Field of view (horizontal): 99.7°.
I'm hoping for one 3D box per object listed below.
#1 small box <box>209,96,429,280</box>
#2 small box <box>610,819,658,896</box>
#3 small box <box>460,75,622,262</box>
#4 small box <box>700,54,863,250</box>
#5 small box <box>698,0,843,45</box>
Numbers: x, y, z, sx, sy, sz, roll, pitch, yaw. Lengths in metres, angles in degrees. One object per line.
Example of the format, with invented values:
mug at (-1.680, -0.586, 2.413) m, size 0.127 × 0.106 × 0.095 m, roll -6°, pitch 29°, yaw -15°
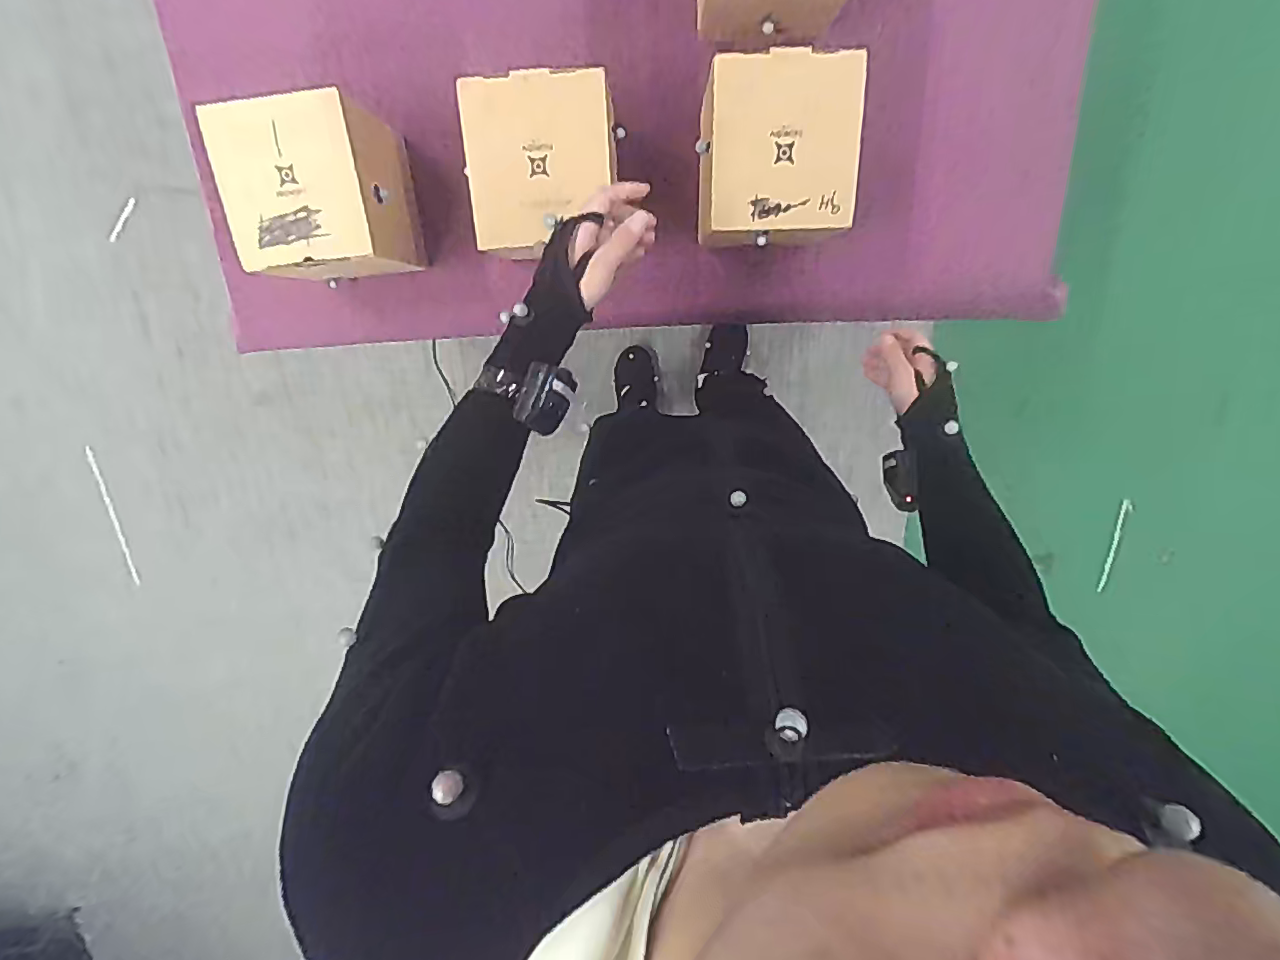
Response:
small box at (-0.400, -0.364, 0.710) m, size 0.168 × 0.176 × 0.179 m, roll -5°, pitch 105°, yaw 3°
small box at (-0.019, 1.414, 2.030) m, size 0.168 × 0.176 × 0.179 m, roll -2°, pitch 107°, yaw 3°
small box at (-0.114, -0.384, 0.696) m, size 0.168 × 0.176 × 0.179 m, roll -1°, pitch 108°, yaw 4°
small box at (0.162, -0.395, 0.680) m, size 0.168 × 0.176 × 0.179 m, roll 0°, pitch 107°, yaw 3°
small box at (0.151, -0.631, 0.605) m, size 0.168 × 0.176 × 0.179 m, roll -1°, pitch 109°, yaw 3°
